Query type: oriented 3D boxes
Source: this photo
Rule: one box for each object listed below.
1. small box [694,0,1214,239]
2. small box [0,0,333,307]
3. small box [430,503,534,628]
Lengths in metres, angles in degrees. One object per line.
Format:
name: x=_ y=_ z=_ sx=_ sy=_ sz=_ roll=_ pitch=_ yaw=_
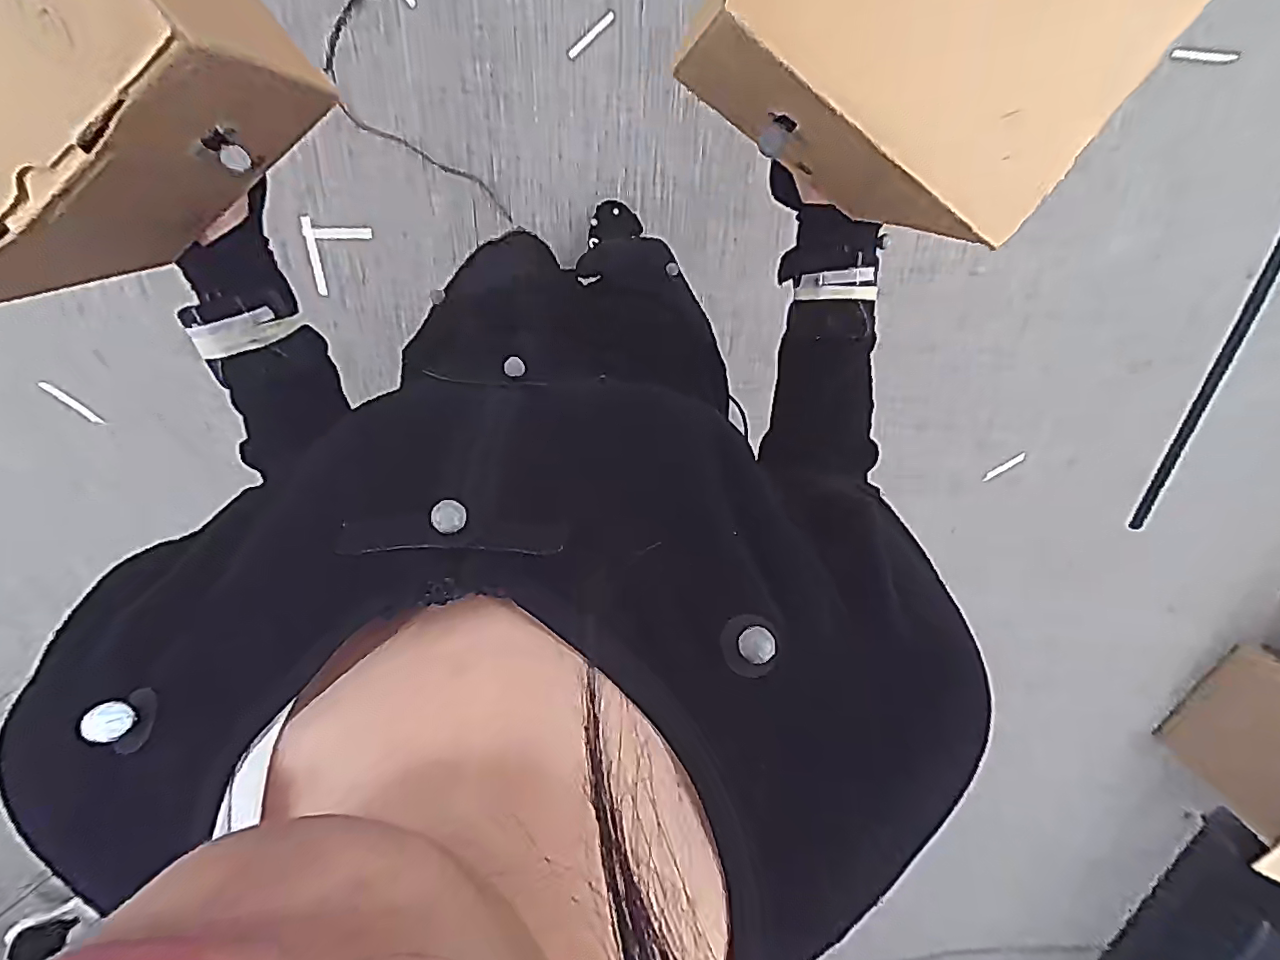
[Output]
small box: x=0.142 y=-0.251 z=0.267 sx=0.168 sy=0.176 sz=0.179 roll=27 pitch=113 yaw=-18
small box: x=-0.277 y=-0.205 z=0.232 sx=0.168 sy=0.176 sz=0.179 roll=-36 pitch=118 yaw=10
small box: x=-0.298 y=0.159 z=1.042 sx=0.168 sy=0.176 sz=0.179 roll=6 pitch=115 yaw=-6
